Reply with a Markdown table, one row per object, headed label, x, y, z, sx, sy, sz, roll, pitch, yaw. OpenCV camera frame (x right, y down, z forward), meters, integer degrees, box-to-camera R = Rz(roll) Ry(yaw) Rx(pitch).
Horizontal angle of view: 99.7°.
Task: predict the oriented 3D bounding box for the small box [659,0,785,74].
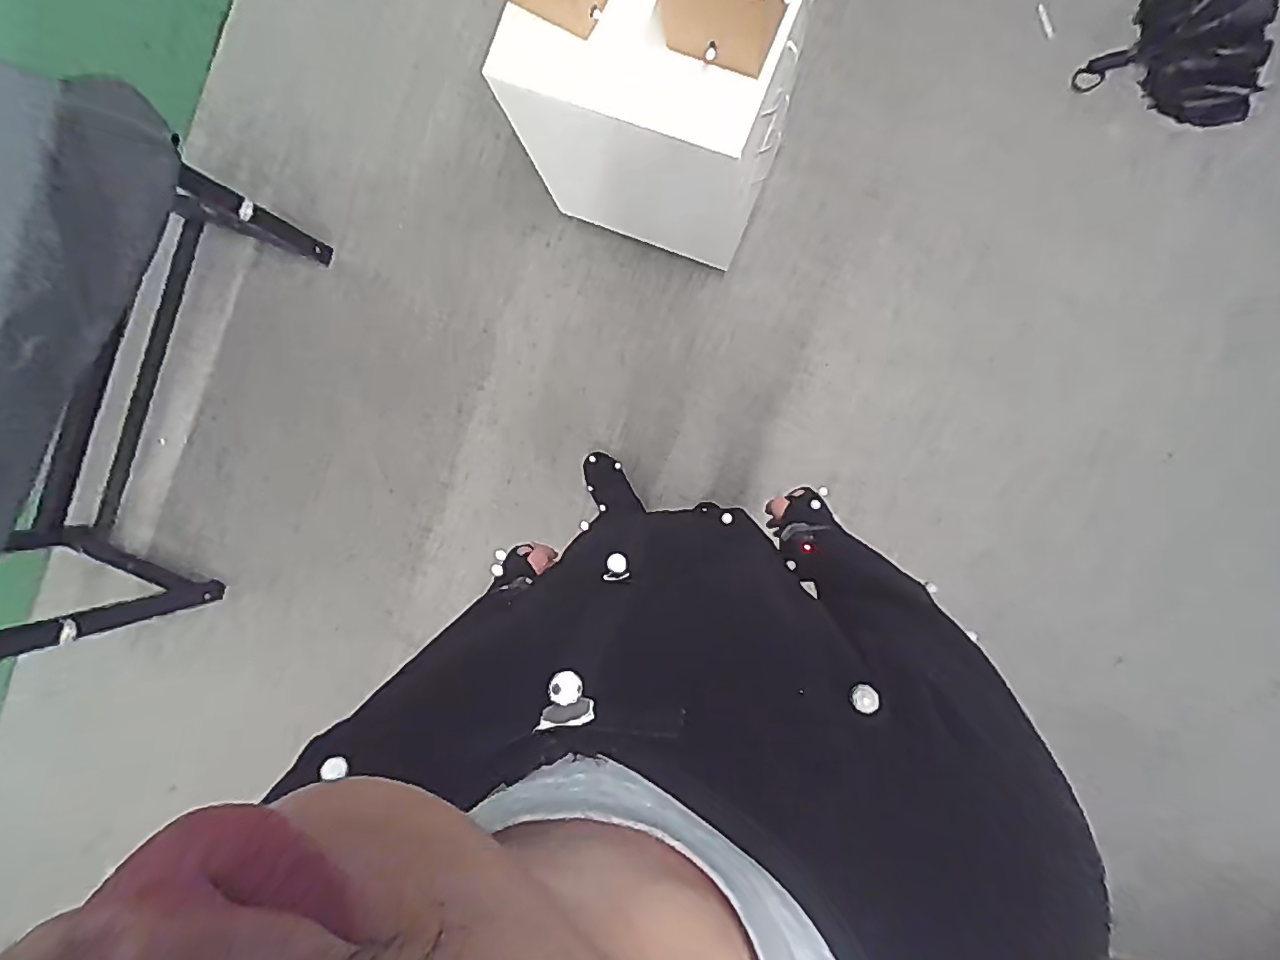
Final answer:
| label | x | y | z | sx | sy | sz | roll | pitch | yaw |
| --- | --- | --- | --- | --- | --- | --- | --- | --- | --- |
| small box | 0.139 | -0.794 | 0.852 | 0.179 | 0.176 | 0.168 | 23 | 93 | 4 |

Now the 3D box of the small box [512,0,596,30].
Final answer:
| label | x | y | z | sx | sy | sz | roll | pitch | yaw |
| --- | --- | --- | --- | --- | --- | --- | --- | --- | --- |
| small box | -0.144 | -0.892 | 0.876 | 0.179 | 0.176 | 0.168 | 30 | 93 | 4 |
